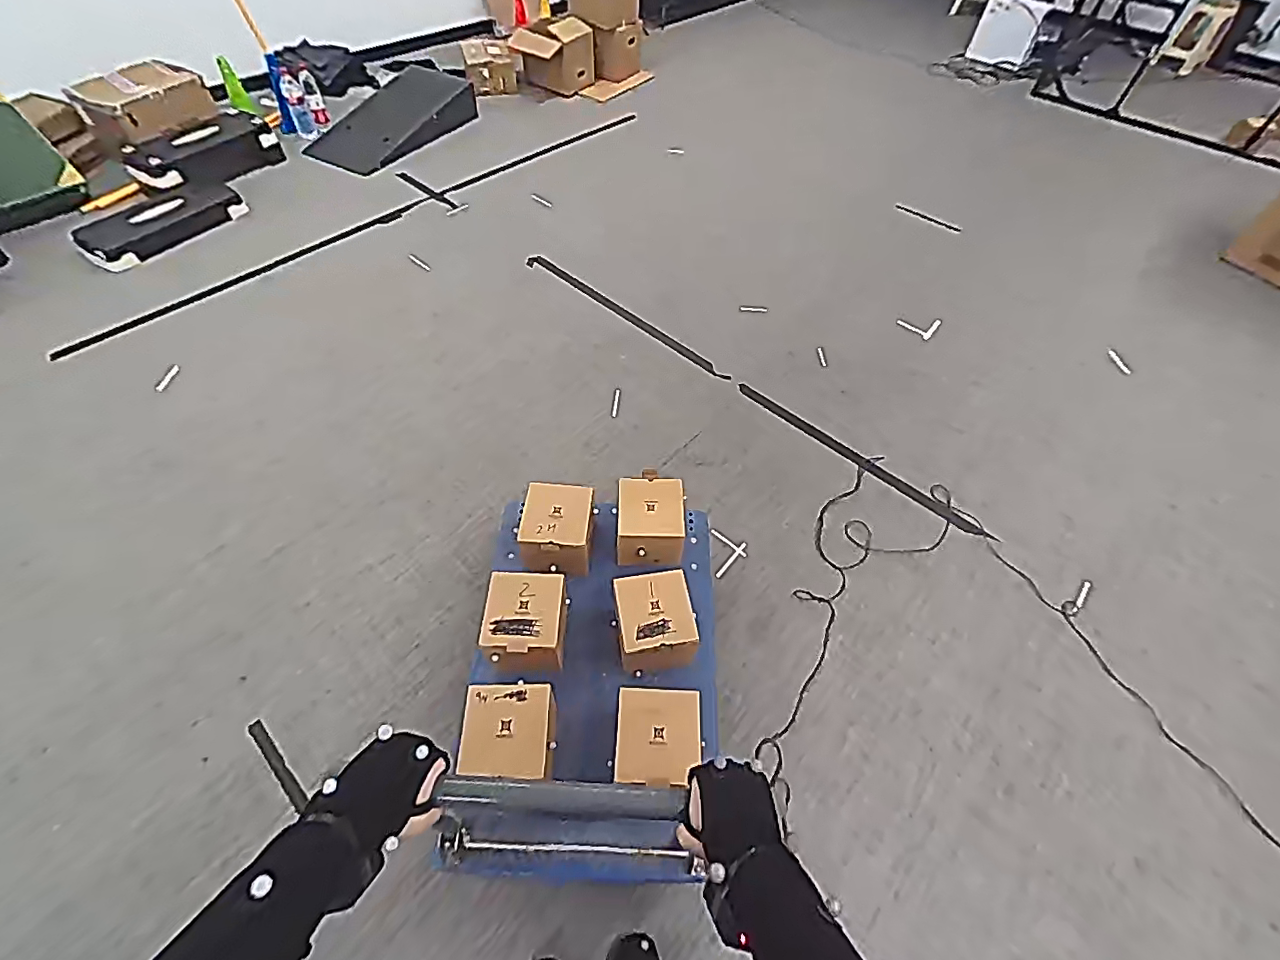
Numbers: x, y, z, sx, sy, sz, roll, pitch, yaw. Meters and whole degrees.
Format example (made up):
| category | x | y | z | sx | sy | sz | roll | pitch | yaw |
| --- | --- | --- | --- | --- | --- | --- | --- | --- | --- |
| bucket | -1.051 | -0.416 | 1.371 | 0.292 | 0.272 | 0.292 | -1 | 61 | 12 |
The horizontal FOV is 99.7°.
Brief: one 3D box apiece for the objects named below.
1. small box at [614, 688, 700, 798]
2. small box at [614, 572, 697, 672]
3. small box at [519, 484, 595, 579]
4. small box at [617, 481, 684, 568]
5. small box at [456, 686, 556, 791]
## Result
| category | x | y | z | sx | sy | sz | roll | pitch | yaw |
| --- | --- | --- | --- | --- | --- | --- | --- | --- | --- |
| small box | 0.034 | 0.549 | 1.119 | 0.168 | 0.176 | 0.179 | 4 | 53 | -1 |
| small box | 0.030 | 0.340 | 1.271 | 0.168 | 0.176 | 0.179 | -6 | 54 | -8 |
| small box | -0.209 | 0.135 | 1.404 | 0.168 | 0.176 | 0.179 | 5 | 55 | 0 |
| small box | 0.024 | 0.121 | 1.432 | 0.168 | 0.176 | 0.179 | 1 | 54 | -3 |
| small box | -0.264 | 0.534 | 1.111 | 0.168 | 0.176 | 0.179 | 1 | 54 | -3 |
